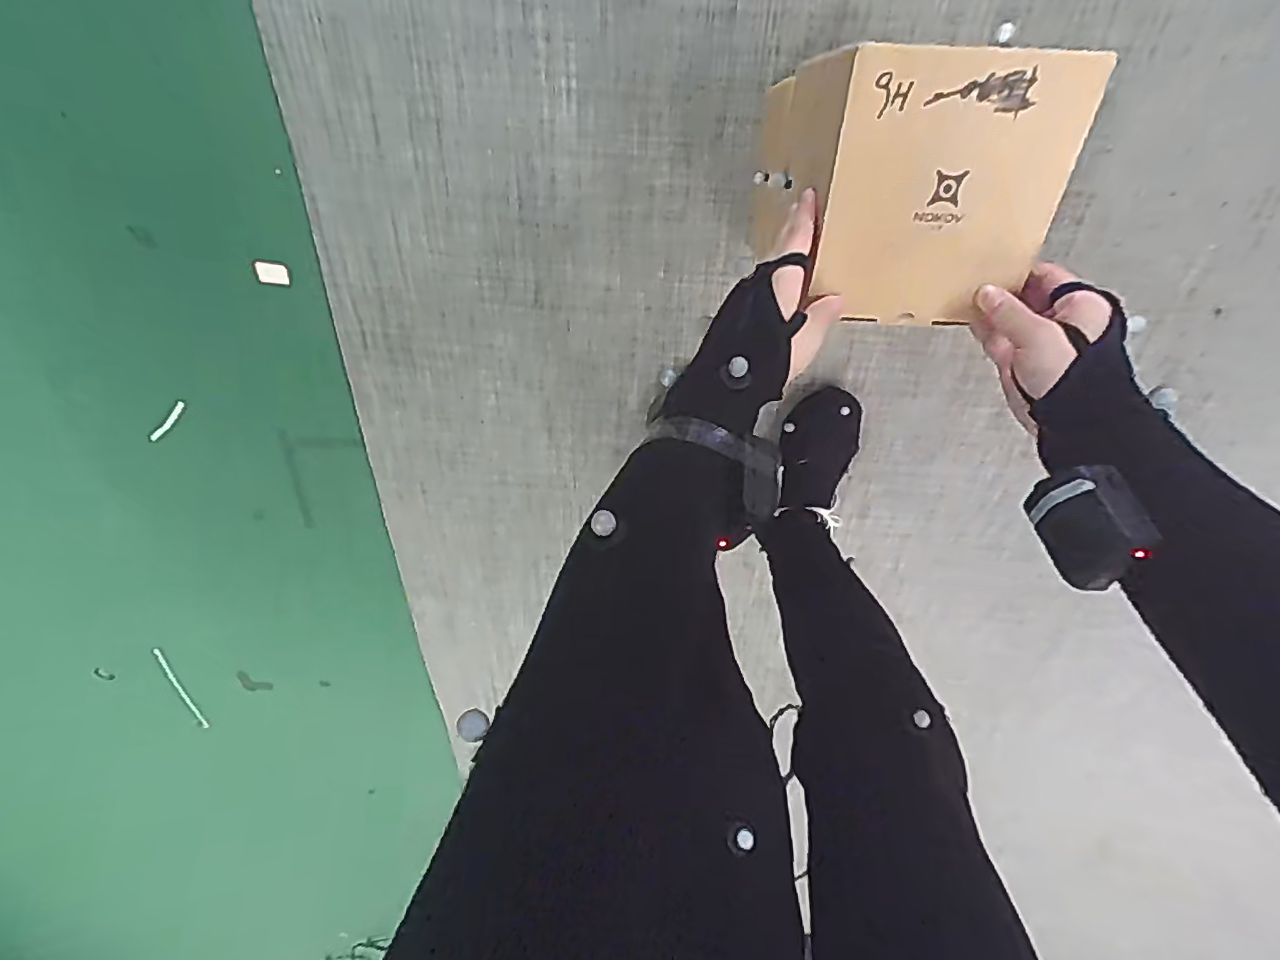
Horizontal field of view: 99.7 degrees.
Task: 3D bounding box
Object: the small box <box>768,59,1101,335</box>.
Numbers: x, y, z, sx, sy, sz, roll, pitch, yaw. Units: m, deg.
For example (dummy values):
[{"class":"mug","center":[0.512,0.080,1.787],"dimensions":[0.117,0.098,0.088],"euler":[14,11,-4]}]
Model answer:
[{"class":"small box","center":[0.212,-0.237,0.455],"dimensions":[0.168,0.176,0.179],"euler":[1,124,0]}]
